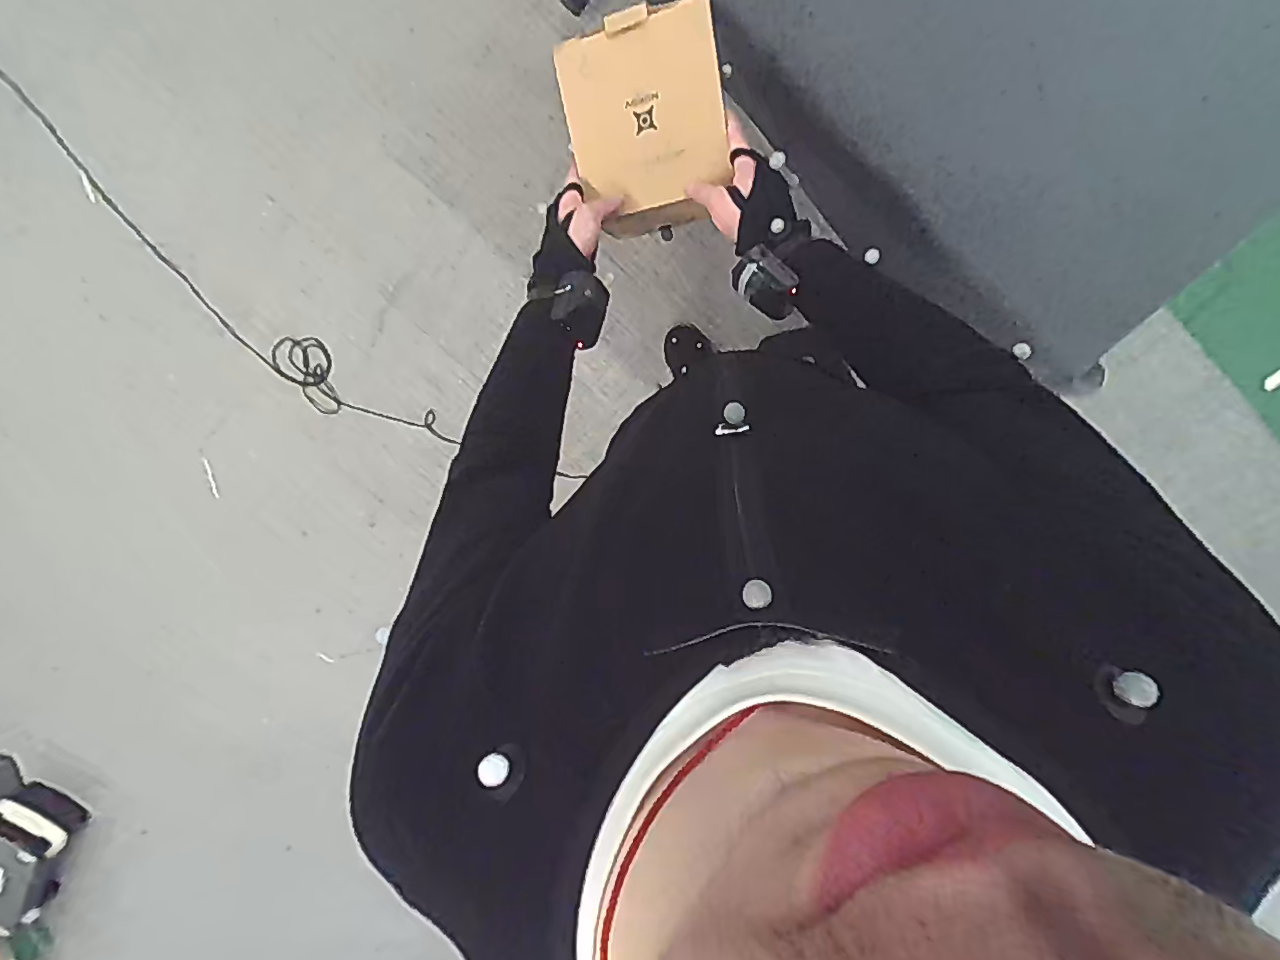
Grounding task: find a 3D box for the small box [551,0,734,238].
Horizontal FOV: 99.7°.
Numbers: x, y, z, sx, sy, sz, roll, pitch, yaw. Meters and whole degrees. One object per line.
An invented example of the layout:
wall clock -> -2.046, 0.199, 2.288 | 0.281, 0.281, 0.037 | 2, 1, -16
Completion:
small box -> 0.016, -0.395, 0.623 | 0.168, 0.176, 0.179 | -6, 106, 14
